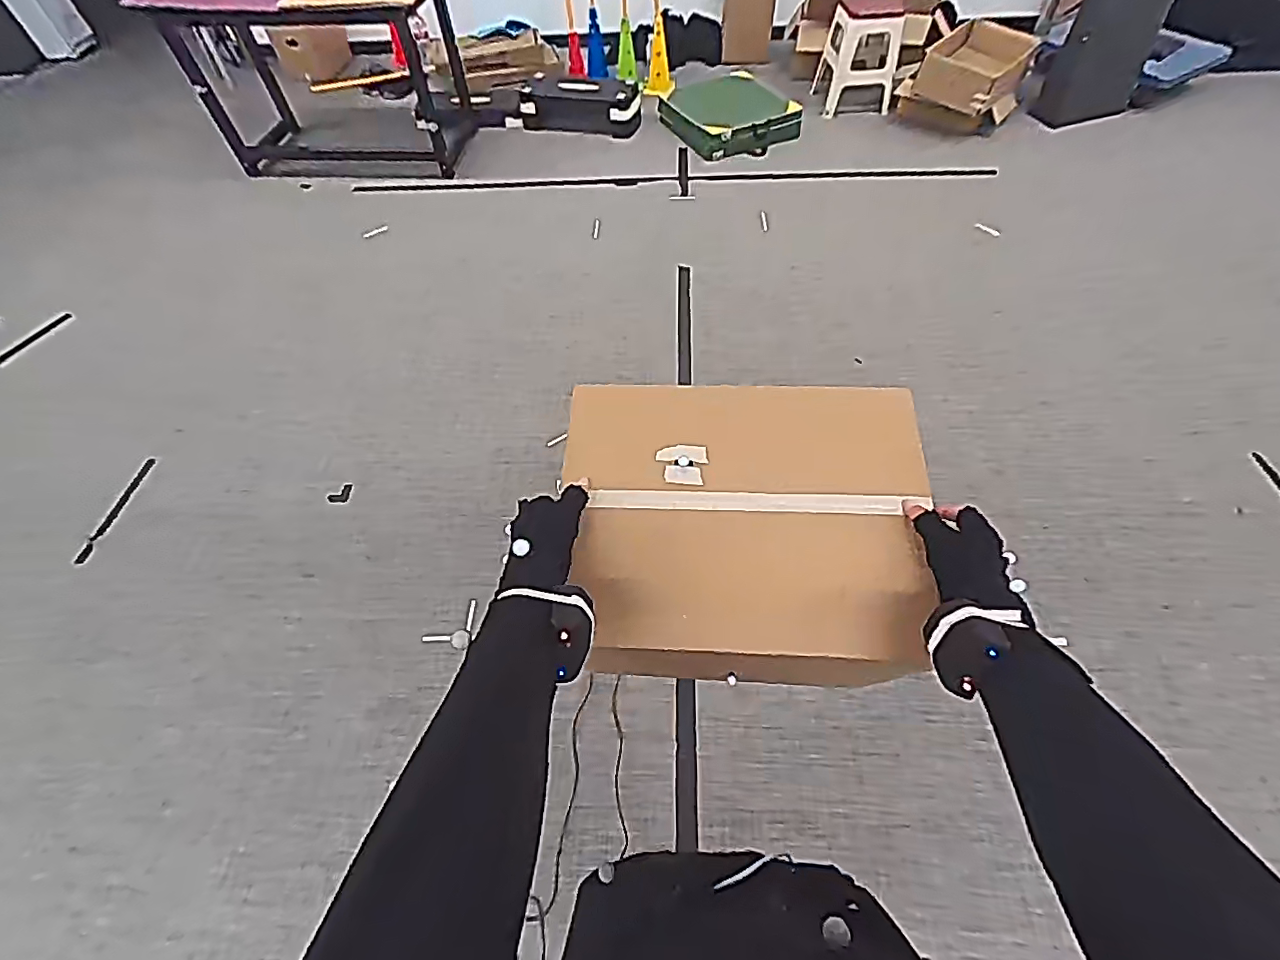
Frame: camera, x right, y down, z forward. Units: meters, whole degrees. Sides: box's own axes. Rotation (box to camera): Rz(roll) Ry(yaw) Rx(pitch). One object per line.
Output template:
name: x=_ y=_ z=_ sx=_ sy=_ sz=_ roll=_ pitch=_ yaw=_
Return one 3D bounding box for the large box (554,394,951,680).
large box: x=0.127 y=0.096 z=0.739 sx=0.408 sy=0.320 sz=0.320 roll=1 pitch=64 yaw=5
